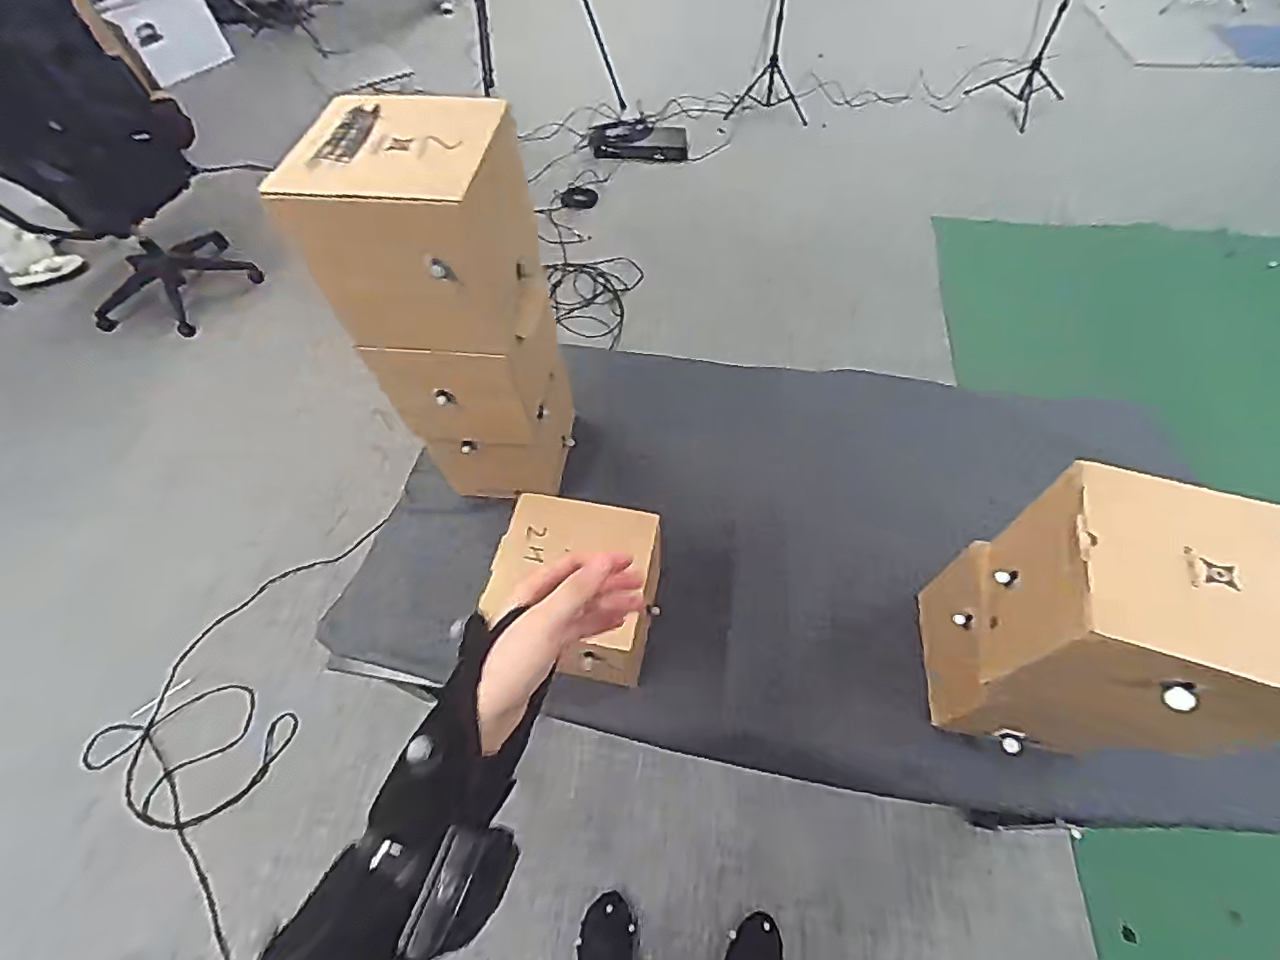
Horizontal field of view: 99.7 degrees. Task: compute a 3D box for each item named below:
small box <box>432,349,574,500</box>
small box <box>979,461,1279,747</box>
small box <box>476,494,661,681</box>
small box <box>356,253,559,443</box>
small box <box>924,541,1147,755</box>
[{"bbox_3d":[-0.201,-0.086,0.834,0.168,0.176,0.179,4,58,5],"label":"small box"},{"bbox_3d":[0.432,0.114,0.471,0.179,0.176,0.168,16,58,15],"label":"small box"},{"bbox_3d":[-0.073,0.140,0.676,0.179,0.176,0.168,9,58,9],"label":"small box"},{"bbox_3d":[-0.210,-0.161,0.686,0.179,0.176,0.168,4,59,6],"label":"small box"},{"bbox_3d":[0.443,0.193,0.613,0.168,0.176,0.179,7,57,8],"label":"small box"}]
